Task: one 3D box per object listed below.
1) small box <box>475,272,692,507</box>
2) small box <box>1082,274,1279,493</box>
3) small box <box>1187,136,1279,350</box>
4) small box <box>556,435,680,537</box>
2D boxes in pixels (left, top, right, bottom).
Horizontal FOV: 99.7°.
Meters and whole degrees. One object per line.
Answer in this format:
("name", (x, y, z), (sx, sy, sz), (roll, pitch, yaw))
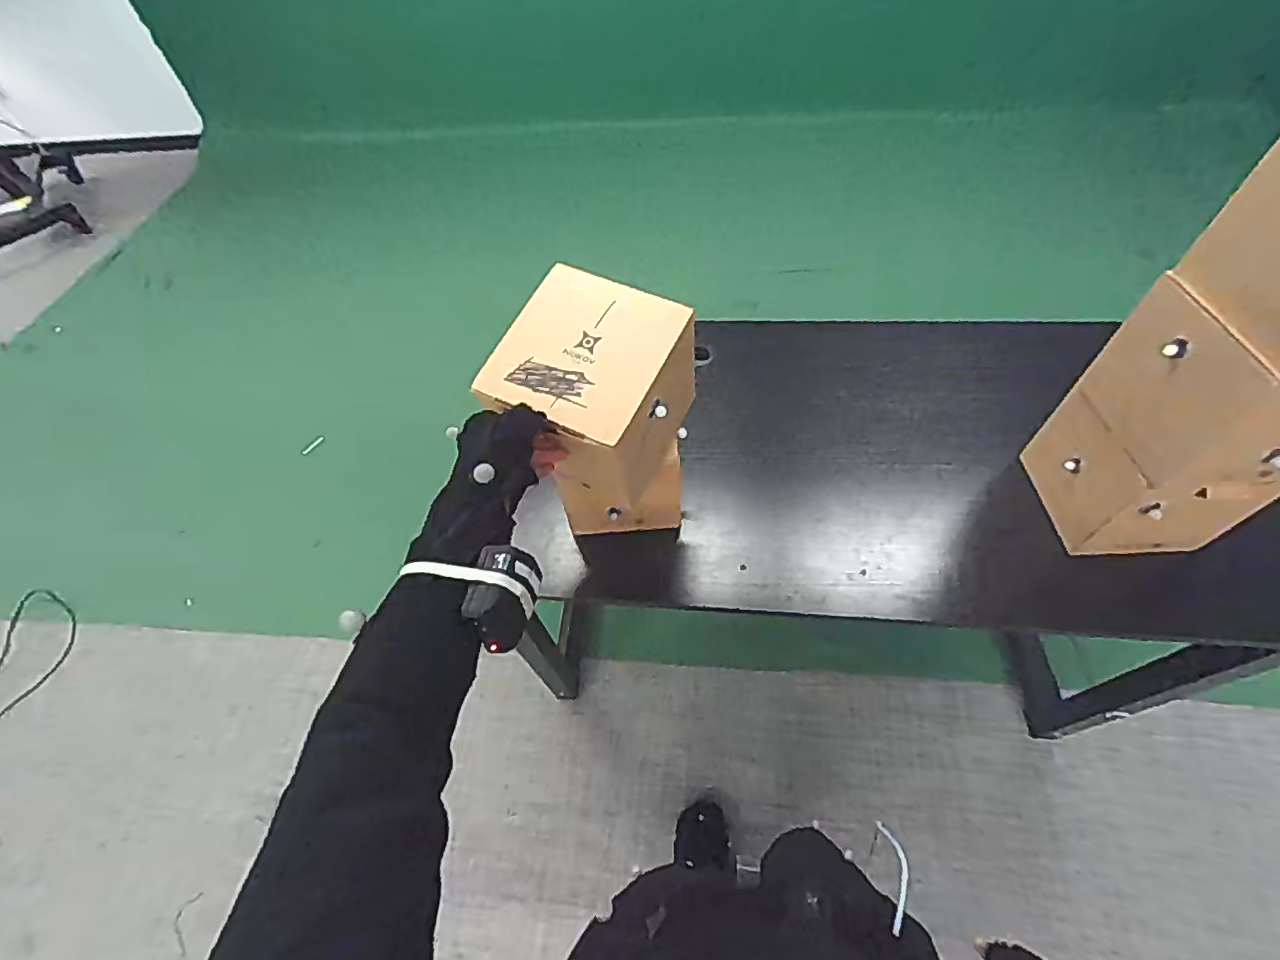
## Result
("small box", (-0.047, -0.093, 0.614), (0.168, 0.176, 0.179), (23, 70, 14))
("small box", (0.645, -0.106, 0.590), (0.168, 0.176, 0.179), (-5, 54, 3))
("small box", (0.637, -0.211, 0.443), (0.168, 0.176, 0.179), (-4, 53, 2))
("small box", (-0.030, -0.033, 0.807), (0.168, 0.176, 0.179), (-5, 56, 1))
